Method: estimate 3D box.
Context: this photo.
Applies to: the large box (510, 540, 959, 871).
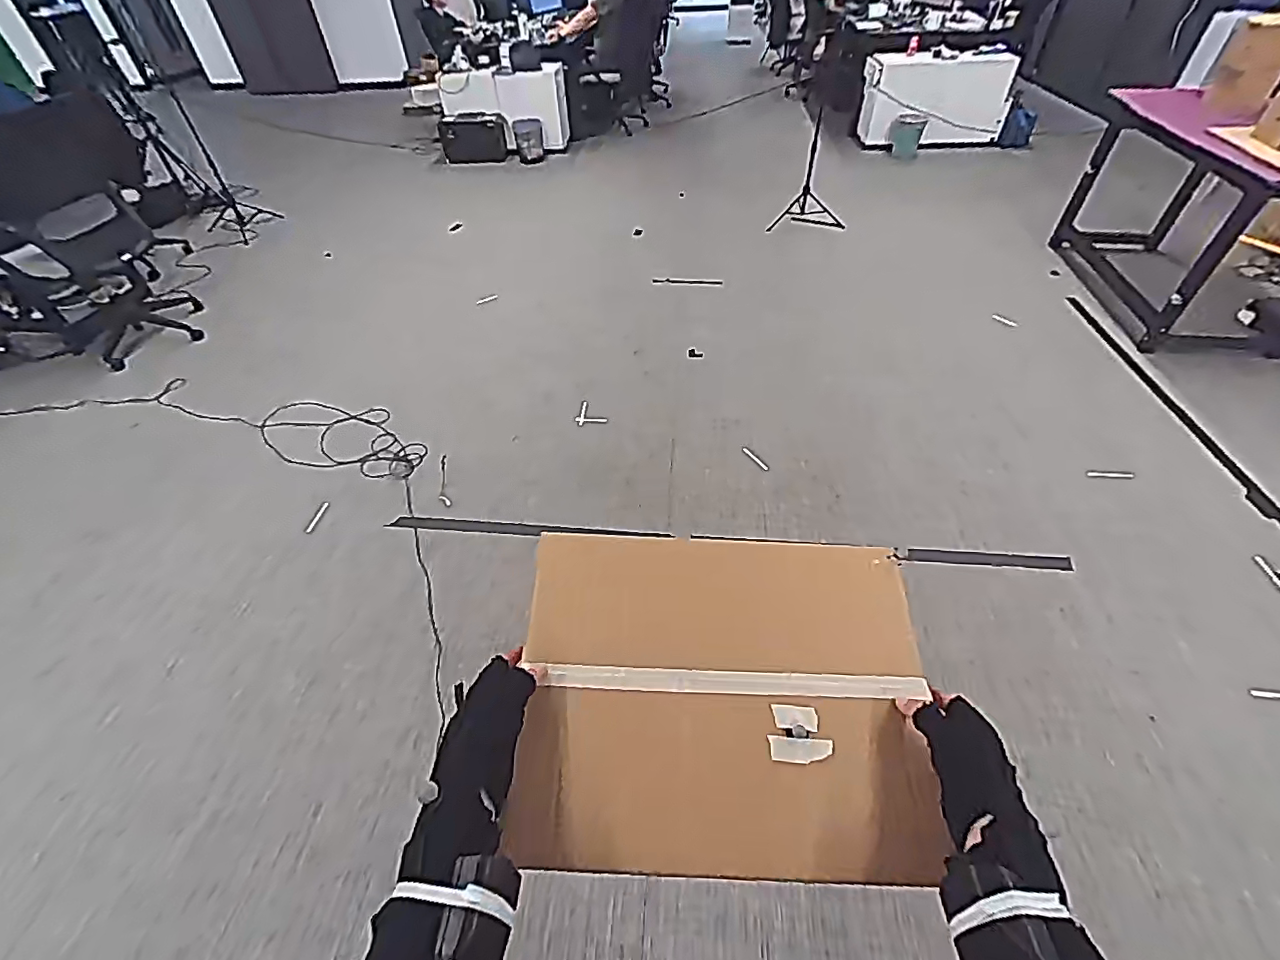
[{"bbox_3d":[0.081,0.286,0.675,0.408,0.320,0.320,3,58,0],"label":"large box"}]
